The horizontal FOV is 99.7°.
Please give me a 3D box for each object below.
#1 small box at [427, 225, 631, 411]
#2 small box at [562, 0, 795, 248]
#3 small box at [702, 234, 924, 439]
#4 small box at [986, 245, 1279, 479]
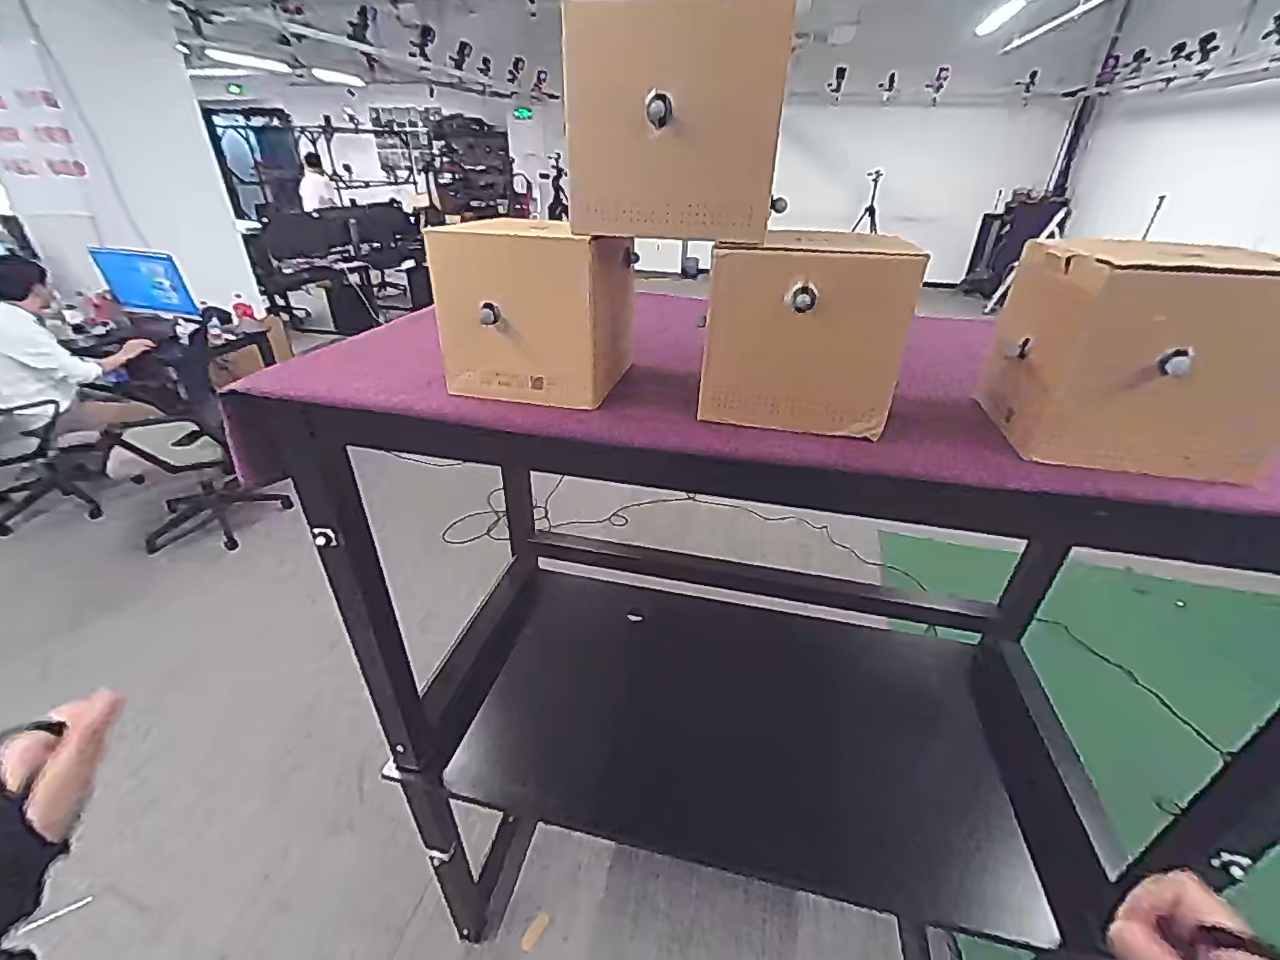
[{"bbox_3d":[-0.105,-0.186,0.603,0.168,0.176,0.179,7,29,10],"label":"small box"},{"bbox_3d":[0.040,-0.315,0.504,0.179,0.176,0.168,6,29,10],"label":"small box"},{"bbox_3d":[0.162,-0.152,0.553,0.179,0.176,0.168,8,30,12],"label":"small box"},{"bbox_3d":[0.445,-0.114,0.493,0.179,0.176,0.168,6,31,12],"label":"small box"}]
